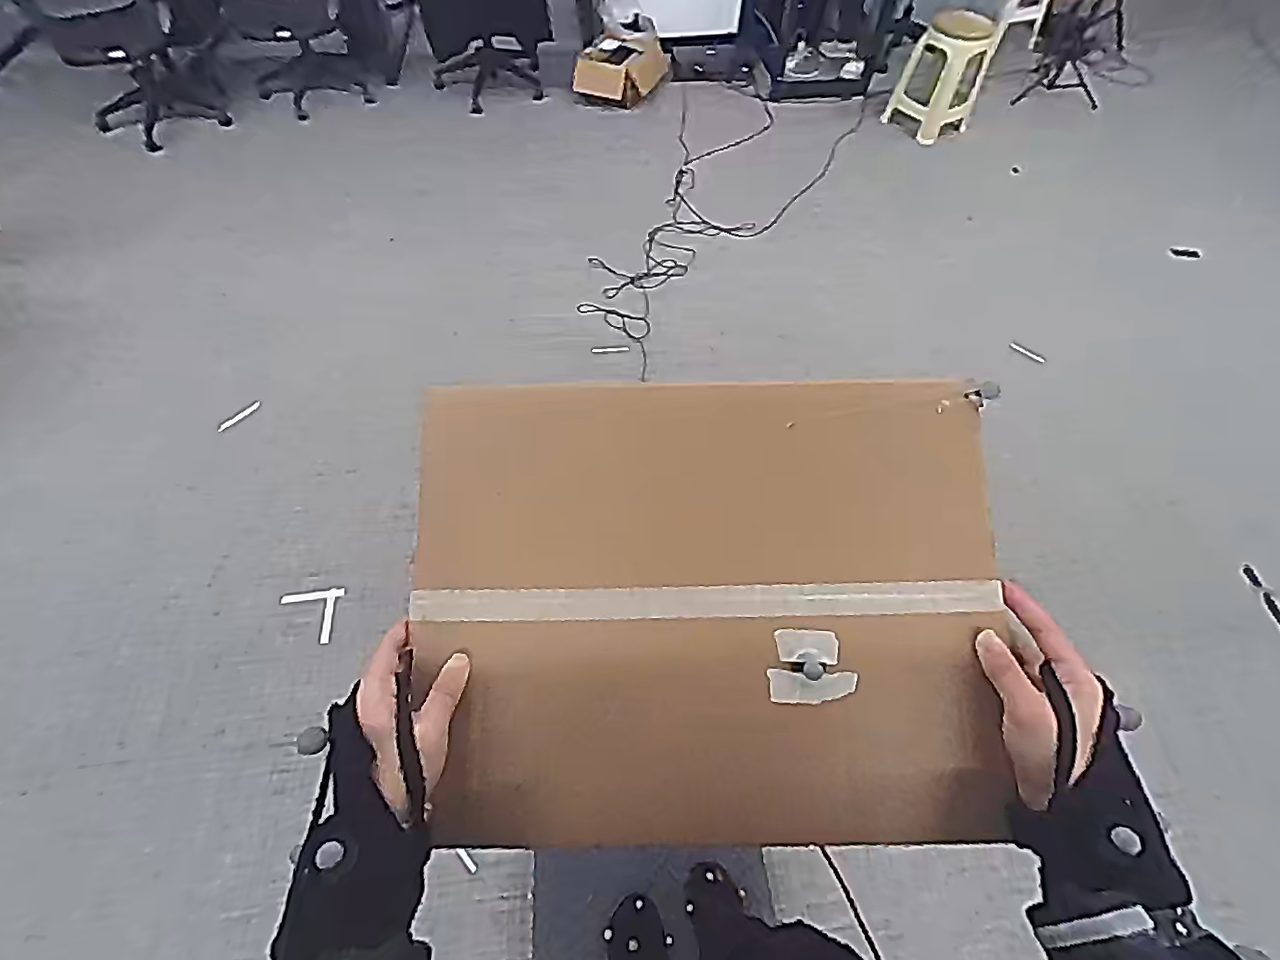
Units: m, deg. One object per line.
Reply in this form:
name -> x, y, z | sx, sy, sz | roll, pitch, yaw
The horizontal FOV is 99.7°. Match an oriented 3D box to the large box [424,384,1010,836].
large box -> 0.047, 0.107, 0.532 | 0.408, 0.320, 0.320 | -1, 81, 0
